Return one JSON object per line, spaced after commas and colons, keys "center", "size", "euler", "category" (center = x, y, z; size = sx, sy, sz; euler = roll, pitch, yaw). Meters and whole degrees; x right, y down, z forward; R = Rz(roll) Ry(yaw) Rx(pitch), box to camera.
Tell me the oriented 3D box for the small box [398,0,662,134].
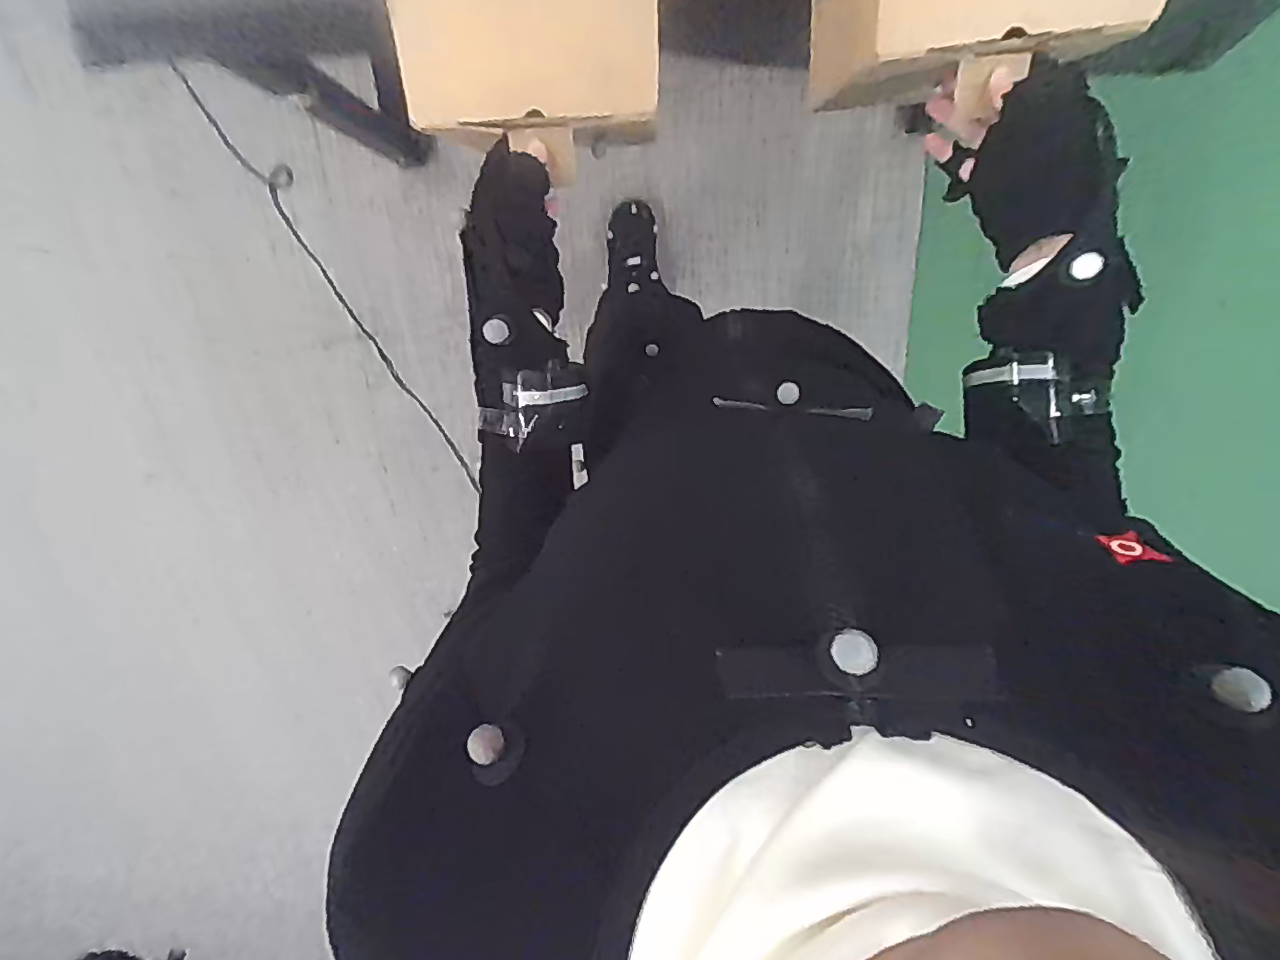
{"center": [-0.068, -0.361, 0.389], "size": [0.168, 0.176, 0.179], "euler": [-2, 115, 1], "category": "small box"}
